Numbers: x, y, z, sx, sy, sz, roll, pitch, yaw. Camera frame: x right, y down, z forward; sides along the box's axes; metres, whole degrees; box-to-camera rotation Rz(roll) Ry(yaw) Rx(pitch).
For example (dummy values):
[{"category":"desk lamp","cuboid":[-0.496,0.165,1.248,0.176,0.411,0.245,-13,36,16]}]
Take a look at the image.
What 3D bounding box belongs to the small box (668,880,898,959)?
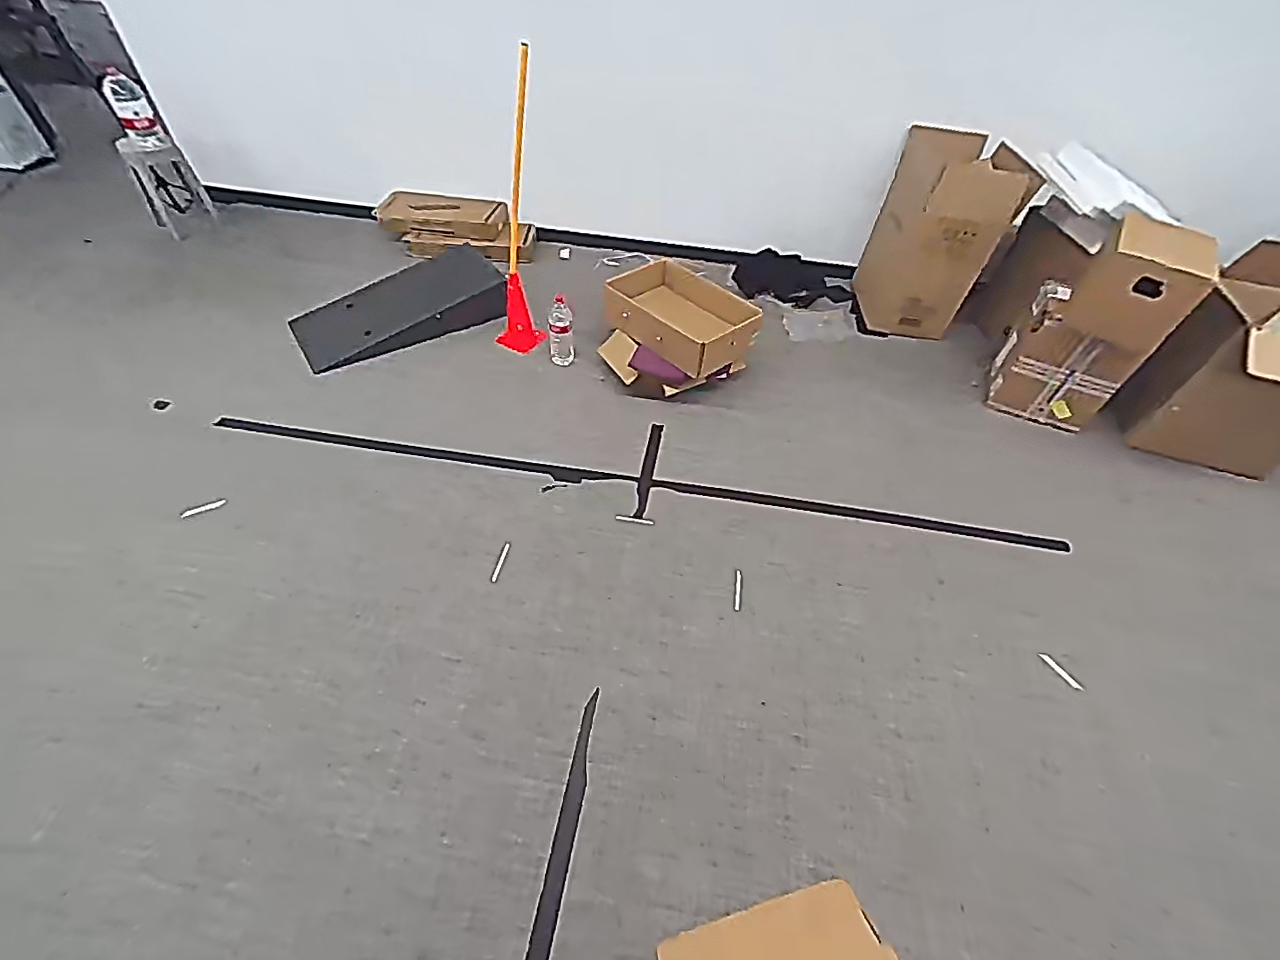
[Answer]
[{"category":"small box","cuboid":[0.134,0.465,0.406,0.179,0.176,0.168,-16,6,-4]}]
